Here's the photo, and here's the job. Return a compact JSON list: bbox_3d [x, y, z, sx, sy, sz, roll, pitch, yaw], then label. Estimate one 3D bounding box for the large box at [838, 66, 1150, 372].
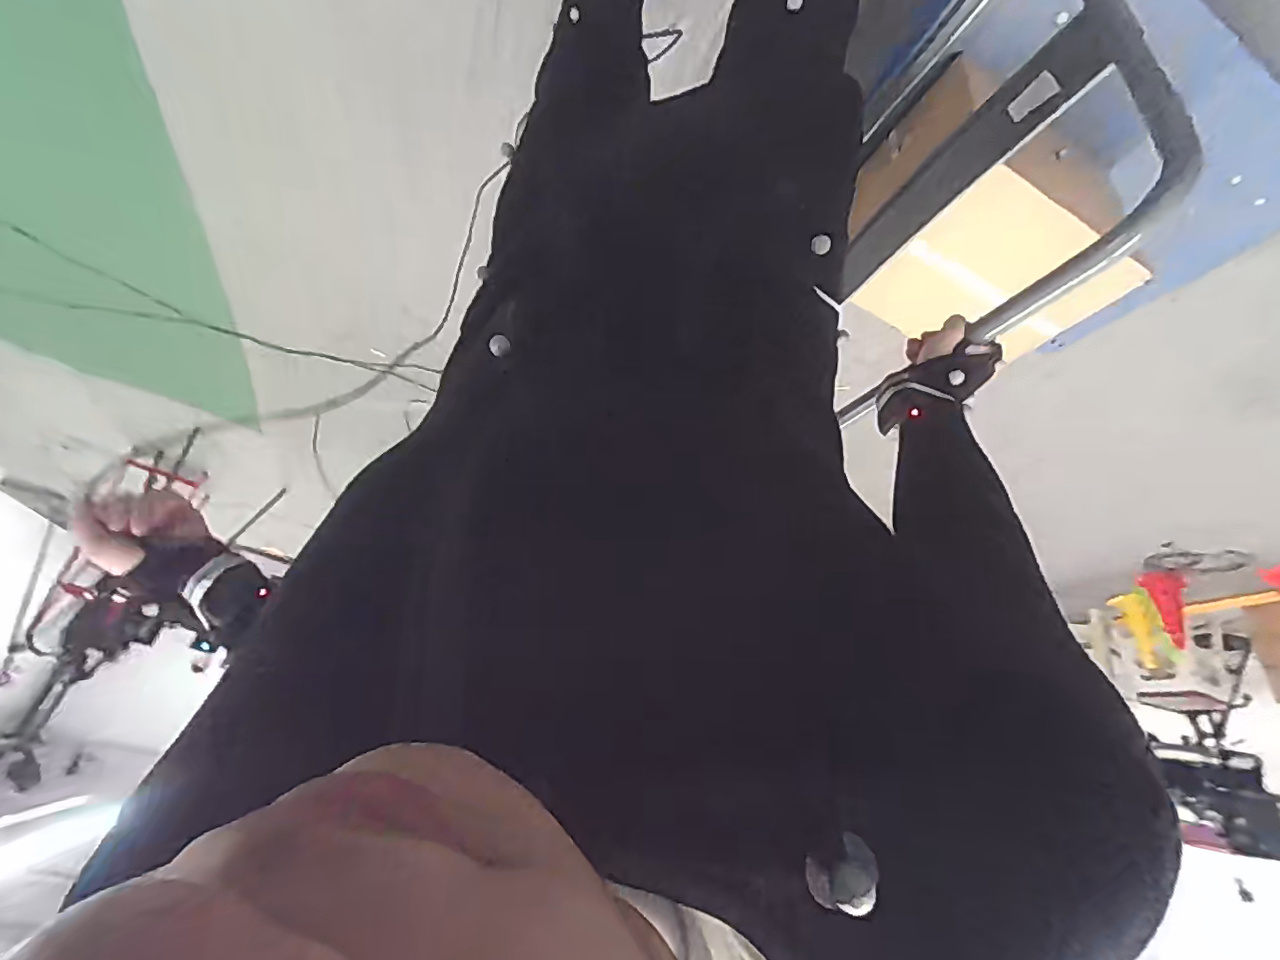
[{"bbox_3d":[0.647,-0.484,1.054,0.408,0.320,0.320,21,150,-17],"label":"large box"}]
